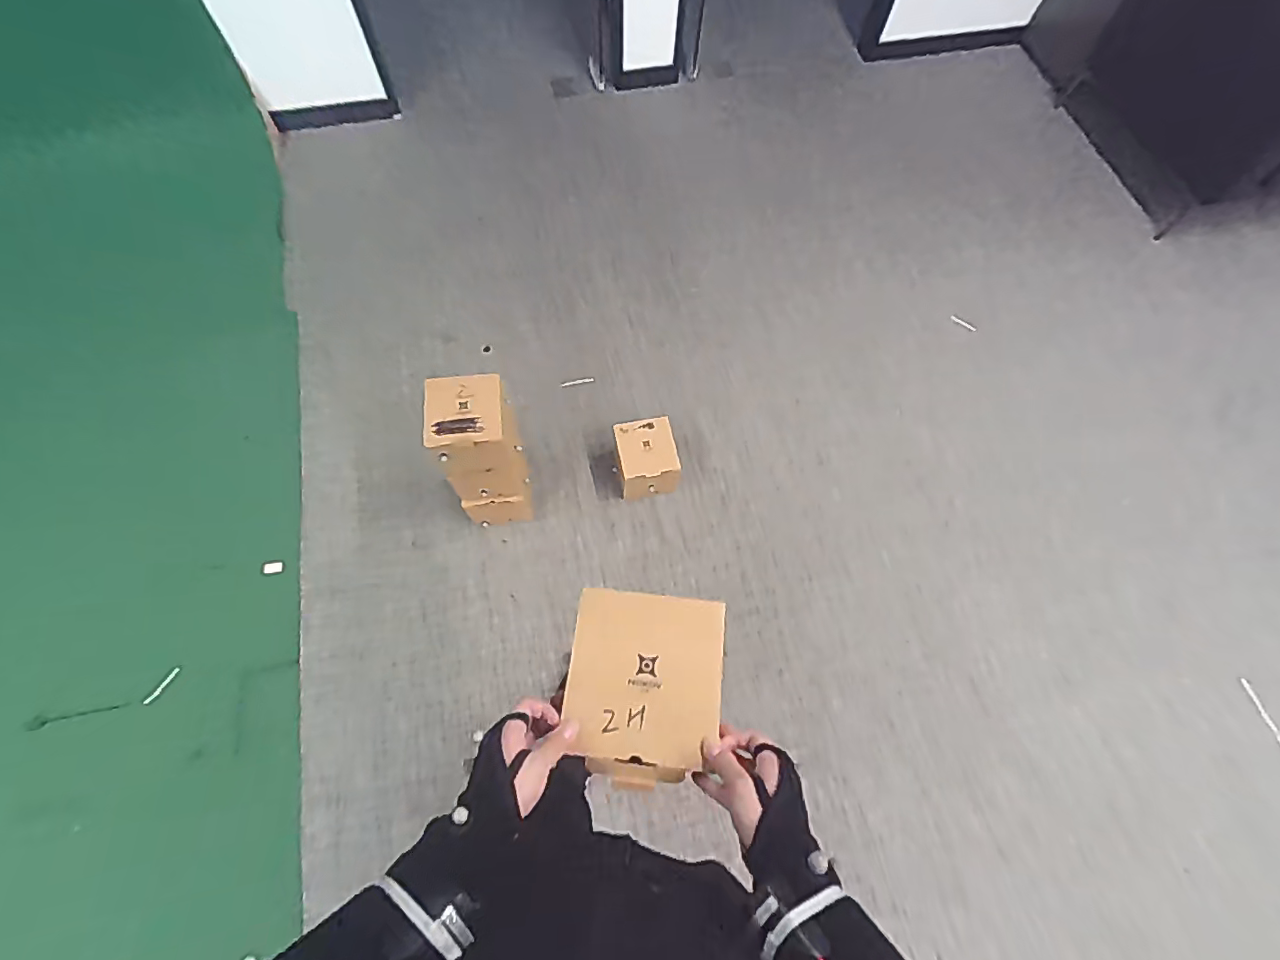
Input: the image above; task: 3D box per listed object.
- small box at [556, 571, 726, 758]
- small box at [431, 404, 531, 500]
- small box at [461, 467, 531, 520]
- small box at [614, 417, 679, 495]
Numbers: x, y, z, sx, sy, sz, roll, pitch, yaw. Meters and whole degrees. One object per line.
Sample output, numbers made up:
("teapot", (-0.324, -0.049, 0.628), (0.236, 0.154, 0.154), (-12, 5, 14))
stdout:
("small box", (0.006, 0.226, 0.654), (0.168, 0.176, 0.179), (6, 65, 4))
("small box", (-0.410, -0.067, 1.423), (0.179, 0.176, 0.168), (23, 70, 7))
("small box", (-0.412, 0.010, 1.559), (0.168, 0.176, 0.179), (-6, 67, -6))
("small box", (0.016, -0.063, 1.612), (0.168, 0.176, 0.179), (-9, 69, -7))
